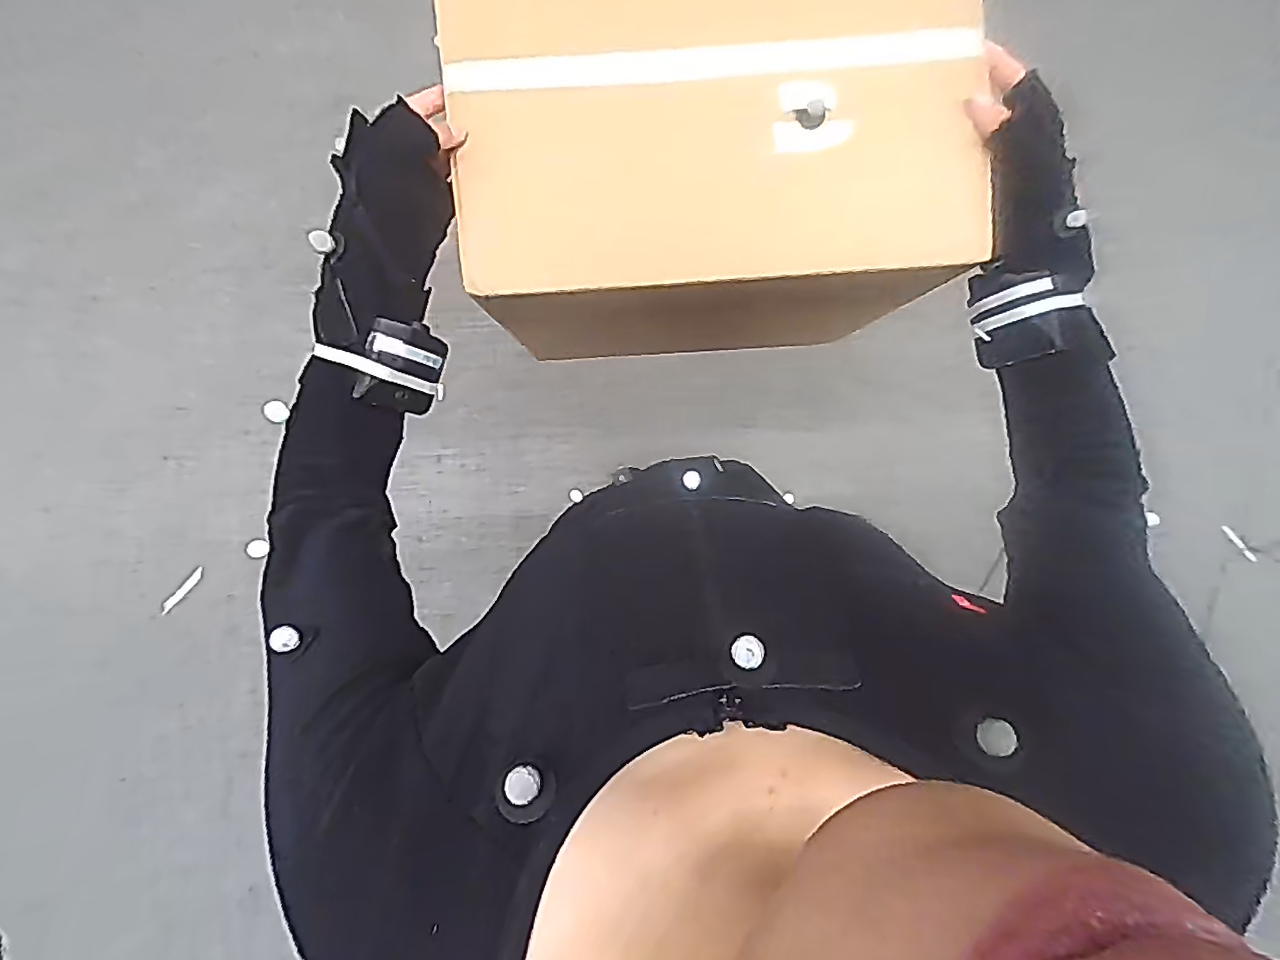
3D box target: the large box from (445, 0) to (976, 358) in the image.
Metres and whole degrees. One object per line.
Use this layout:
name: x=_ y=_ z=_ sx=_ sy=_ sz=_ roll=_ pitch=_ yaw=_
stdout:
large box: x=0.050 y=-0.324 z=0.564 sx=0.408 sy=0.320 sz=0.320 roll=-5 pitch=94 yaw=-1
